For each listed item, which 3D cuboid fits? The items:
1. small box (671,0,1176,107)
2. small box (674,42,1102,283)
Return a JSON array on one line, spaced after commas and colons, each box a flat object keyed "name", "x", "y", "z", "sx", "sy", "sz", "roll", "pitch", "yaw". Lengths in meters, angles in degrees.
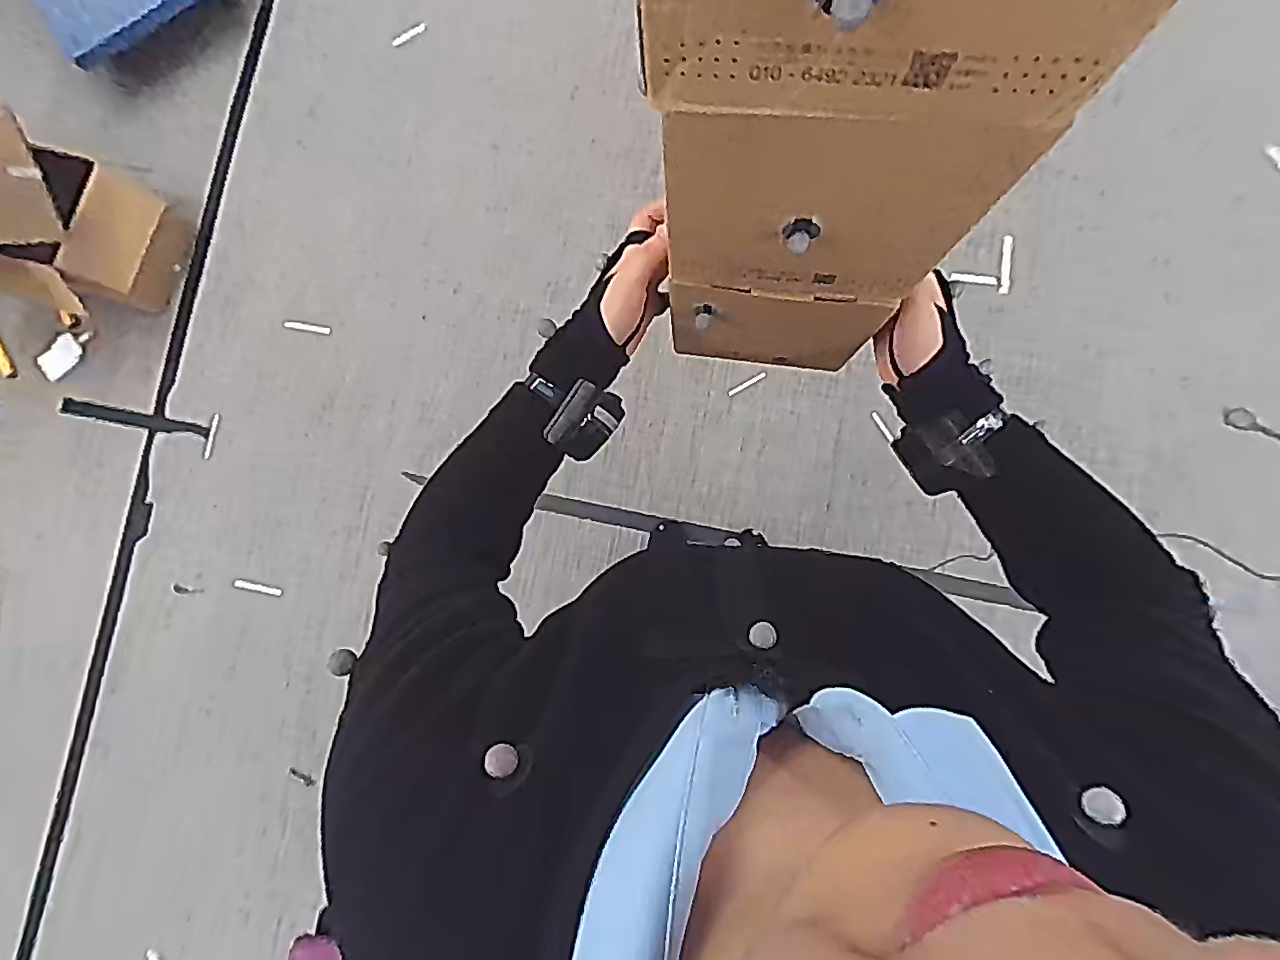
[{"name": "small box", "x": 0.094, "y": -0.243, "z": 0.137, "sx": 0.168, "sy": 0.176, "sz": 0.179, "roll": 6, "pitch": 86, "yaw": 5}, {"name": "small box", "x": 0.113, "y": -0.229, "z": 0.299, "sx": 0.168, "sy": 0.176, "sz": 0.179, "roll": 7, "pitch": 85, "yaw": 5}]
